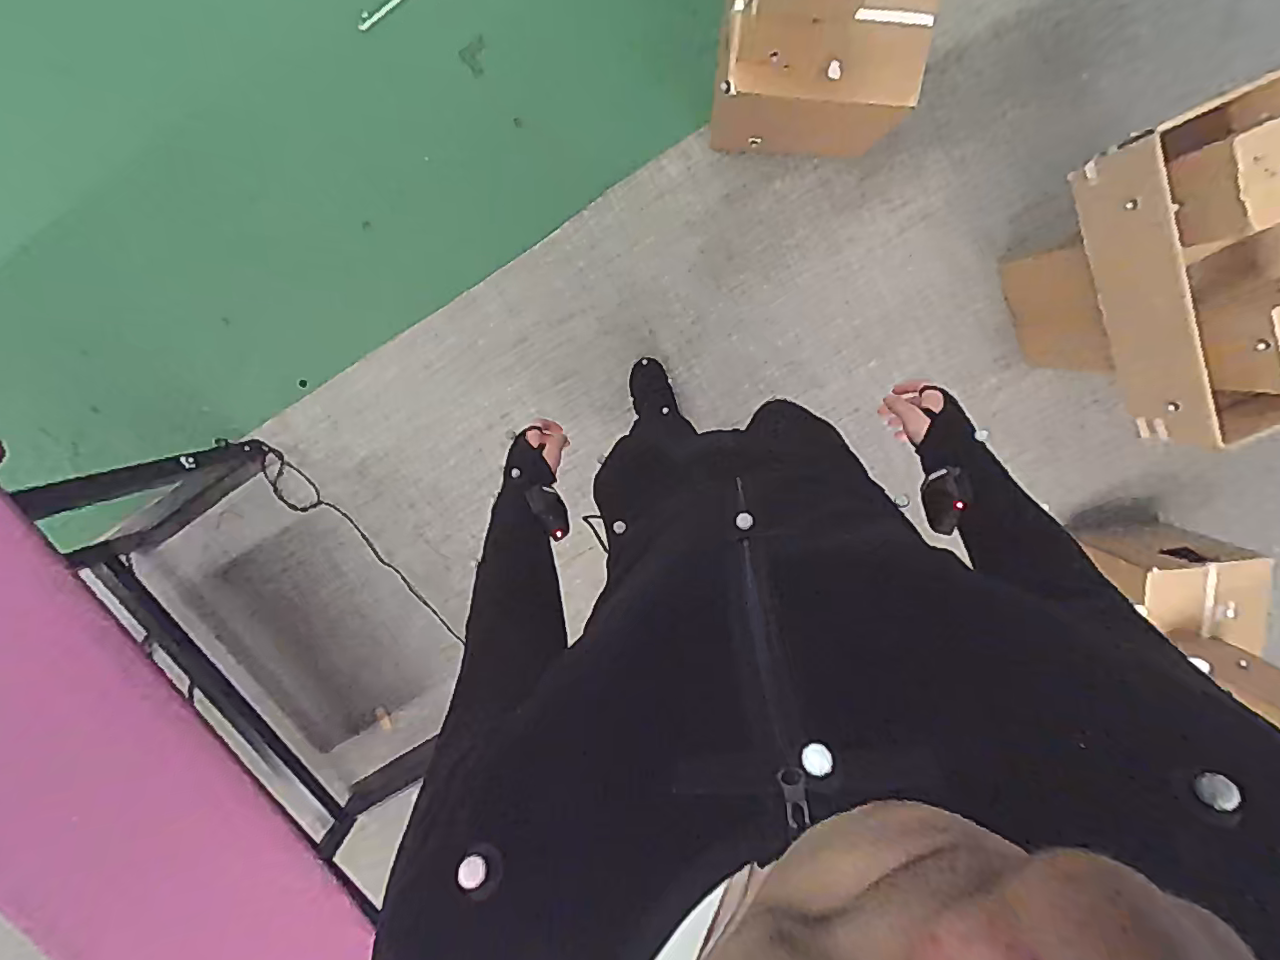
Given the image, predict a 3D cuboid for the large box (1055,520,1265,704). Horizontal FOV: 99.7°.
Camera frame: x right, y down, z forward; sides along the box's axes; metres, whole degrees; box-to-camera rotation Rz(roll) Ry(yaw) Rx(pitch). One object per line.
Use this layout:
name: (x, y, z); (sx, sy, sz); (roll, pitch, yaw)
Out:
large box: (1.456, 0.363, 1.551); (0.320, 0.320, 0.408); (-8, 102, 1)

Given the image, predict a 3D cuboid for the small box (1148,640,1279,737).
small box: (1.426, 0.508, 1.333); (0.179, 0.176, 0.168); (-1, 102, 2)

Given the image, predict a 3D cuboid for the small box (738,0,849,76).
small box: (0.288, -0.905, 1.013); (0.168, 0.176, 0.179); (6, 104, -2)

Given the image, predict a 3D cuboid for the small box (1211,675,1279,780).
small box: (1.416, 0.540, 1.173); (0.179, 0.176, 0.168); (-1, 102, 1)
